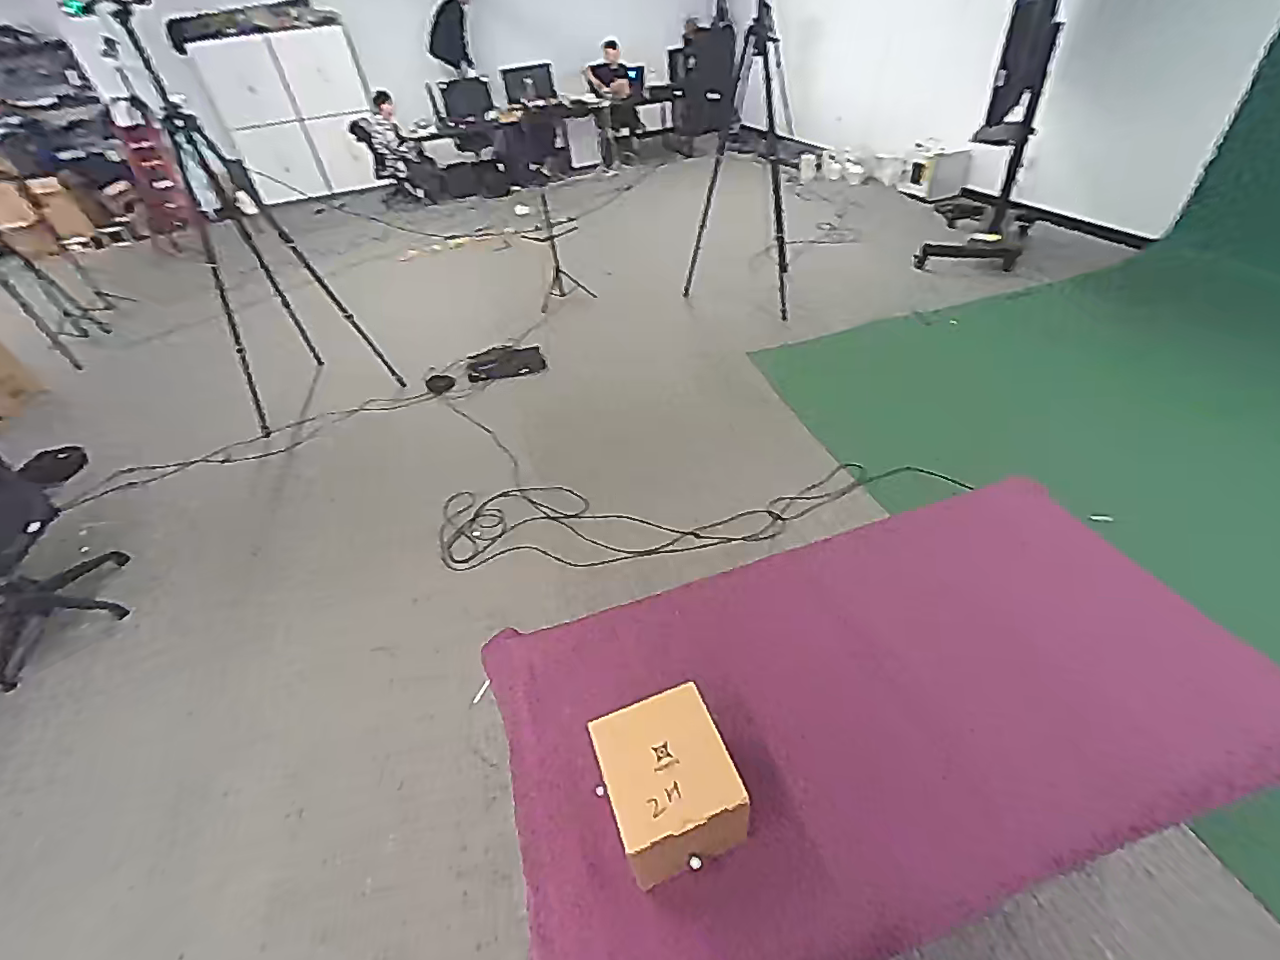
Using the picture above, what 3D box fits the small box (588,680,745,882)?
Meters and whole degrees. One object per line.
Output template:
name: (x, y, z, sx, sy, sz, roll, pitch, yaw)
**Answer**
small box: (0.035, 0.429, 0.774, 0.168, 0.176, 0.179, -18, 42, -11)
